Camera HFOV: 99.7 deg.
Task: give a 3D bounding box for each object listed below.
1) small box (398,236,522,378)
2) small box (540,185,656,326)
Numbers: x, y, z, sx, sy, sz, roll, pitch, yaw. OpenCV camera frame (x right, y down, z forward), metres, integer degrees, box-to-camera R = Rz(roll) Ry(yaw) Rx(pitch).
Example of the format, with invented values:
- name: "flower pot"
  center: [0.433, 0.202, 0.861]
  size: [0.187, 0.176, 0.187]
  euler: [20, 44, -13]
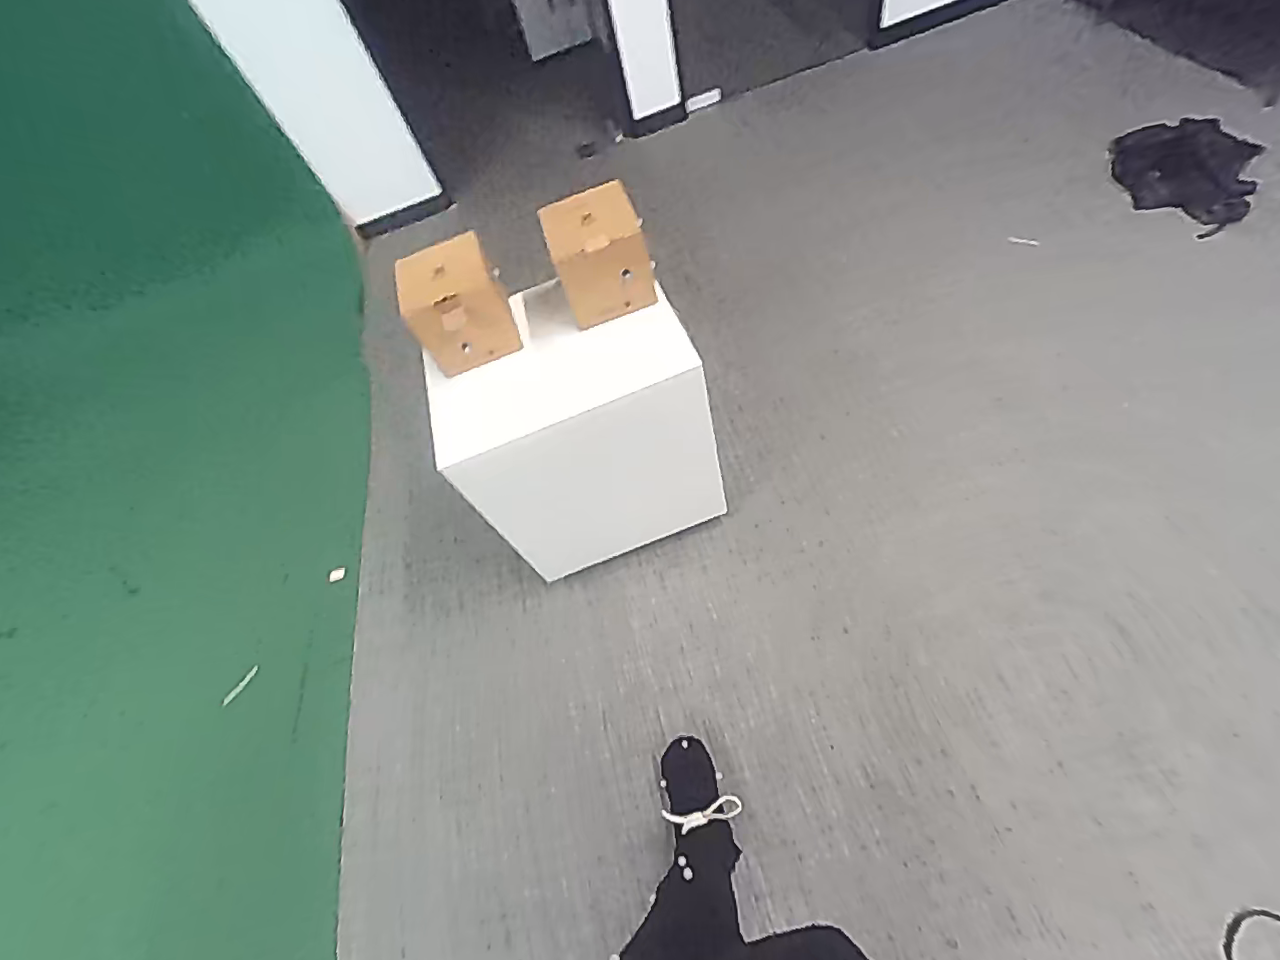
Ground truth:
- name: "small box"
  center: [-0.348, -0.333, 1.057]
  size: [0.168, 0.176, 0.179]
  euler: [-22, 57, -1]
- name: "small box"
  center: [-0.077, -0.421, 1.043]
  size: [0.168, 0.176, 0.179]
  euler: [-19, 55, 2]
